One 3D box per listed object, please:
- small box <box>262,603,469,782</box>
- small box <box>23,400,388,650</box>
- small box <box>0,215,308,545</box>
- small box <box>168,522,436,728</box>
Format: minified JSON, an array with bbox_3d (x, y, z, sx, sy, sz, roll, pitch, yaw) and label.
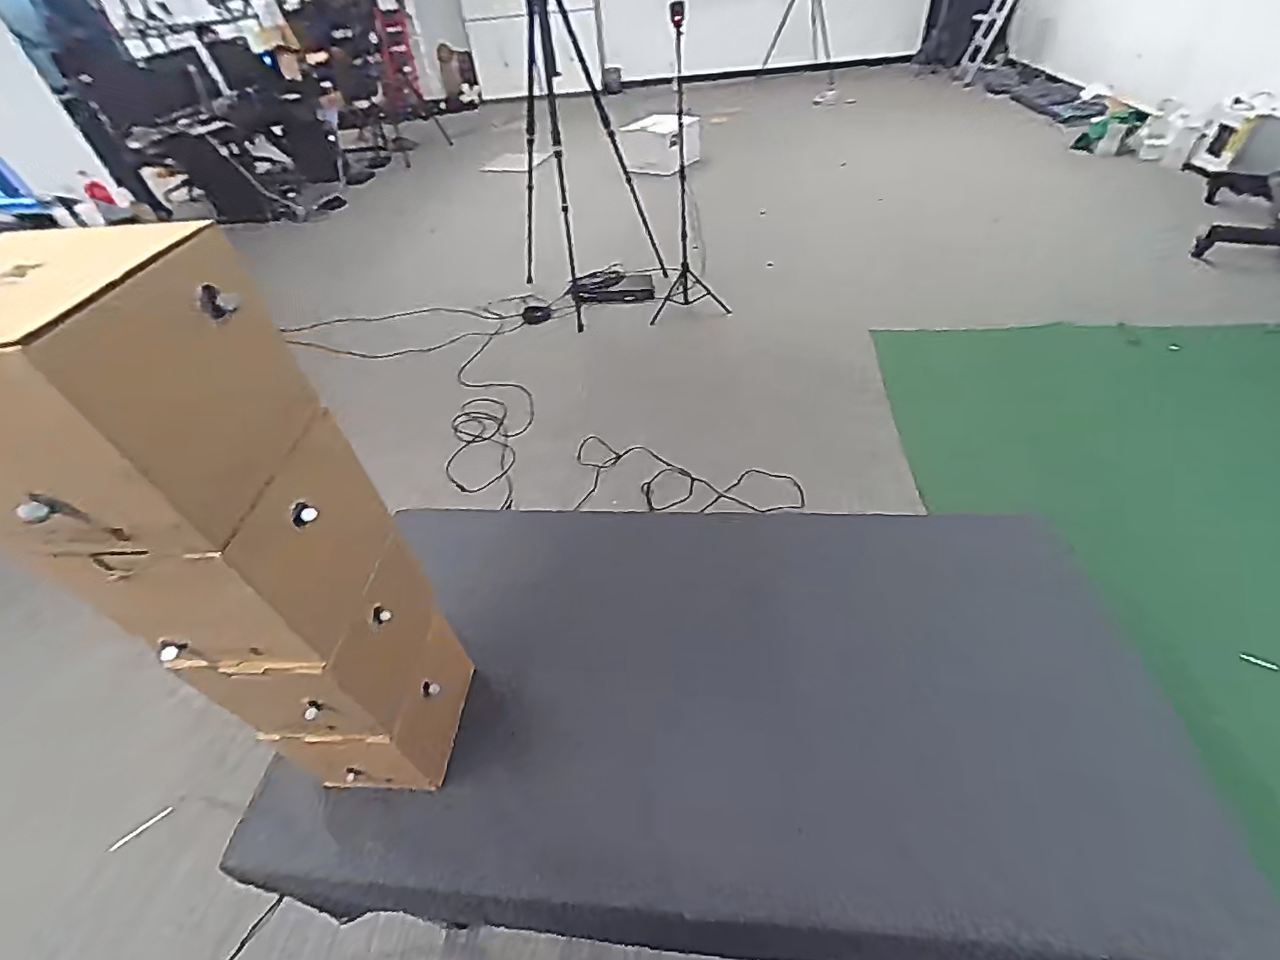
[{"bbox_3d":[-0.347,0.283,0.731,0.168,0.176,0.179,-1,45,5],"label":"small box"},{"bbox_3d":[-0.369,0.044,0.509,0.168,0.176,0.179,0,45,4],"label":"small box"},{"bbox_3d":[-0.383,-0.072,0.393,0.168,0.176,0.179,-2,45,4],"label":"small box"},{"bbox_3d":[-0.357,0.166,0.619,0.168,0.176,0.179,0,45,5],"label":"small box"}]
